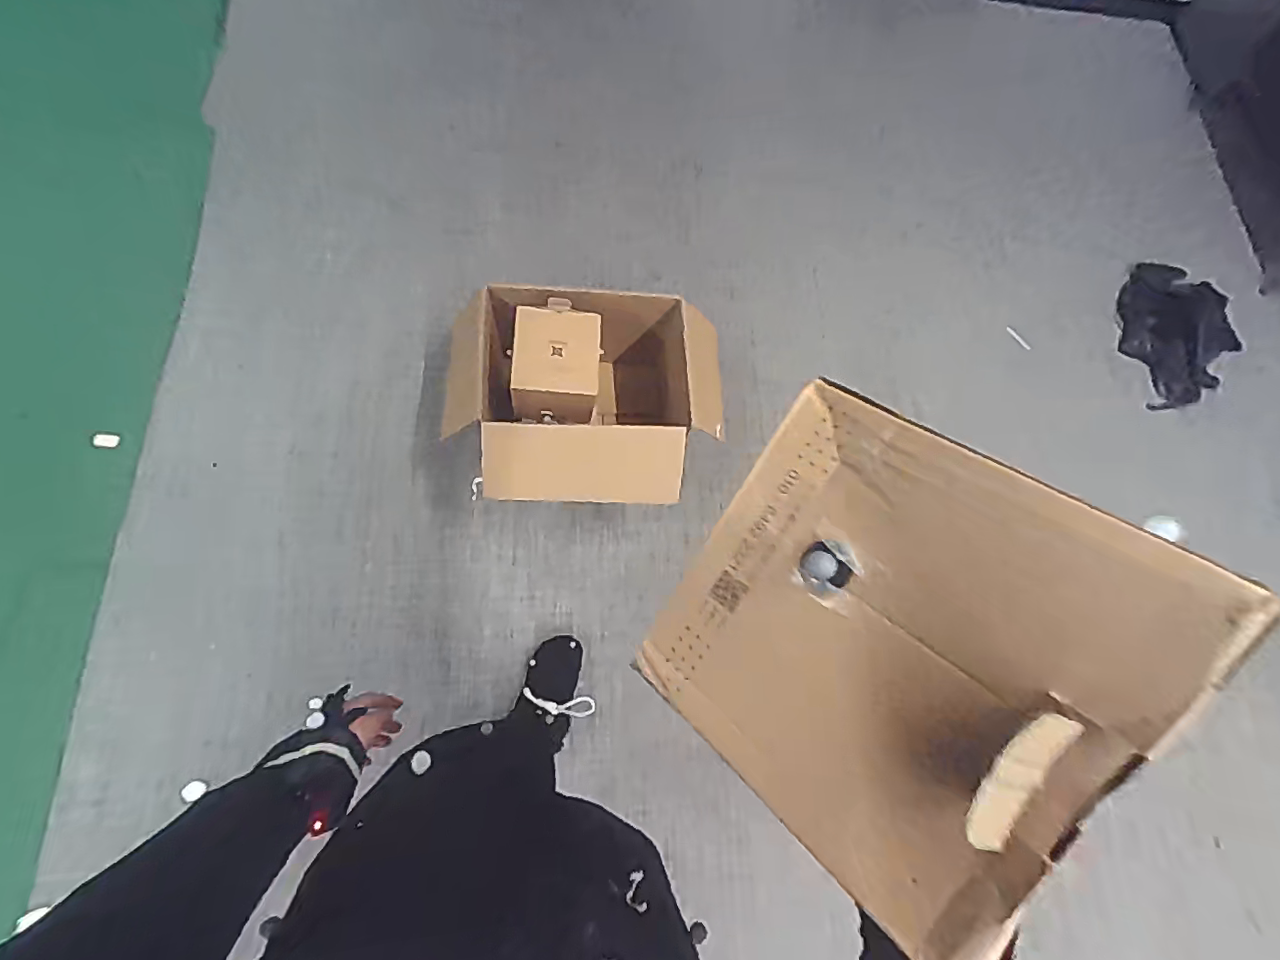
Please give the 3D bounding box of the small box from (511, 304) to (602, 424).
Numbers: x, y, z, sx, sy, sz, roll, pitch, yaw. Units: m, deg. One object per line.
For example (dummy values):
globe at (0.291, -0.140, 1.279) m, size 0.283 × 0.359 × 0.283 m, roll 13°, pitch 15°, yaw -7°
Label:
small box at (-0.173, -0.230, 1.109) m, size 0.168 × 0.176 × 0.179 m, roll 4°, pitch 76°, yaw -10°
